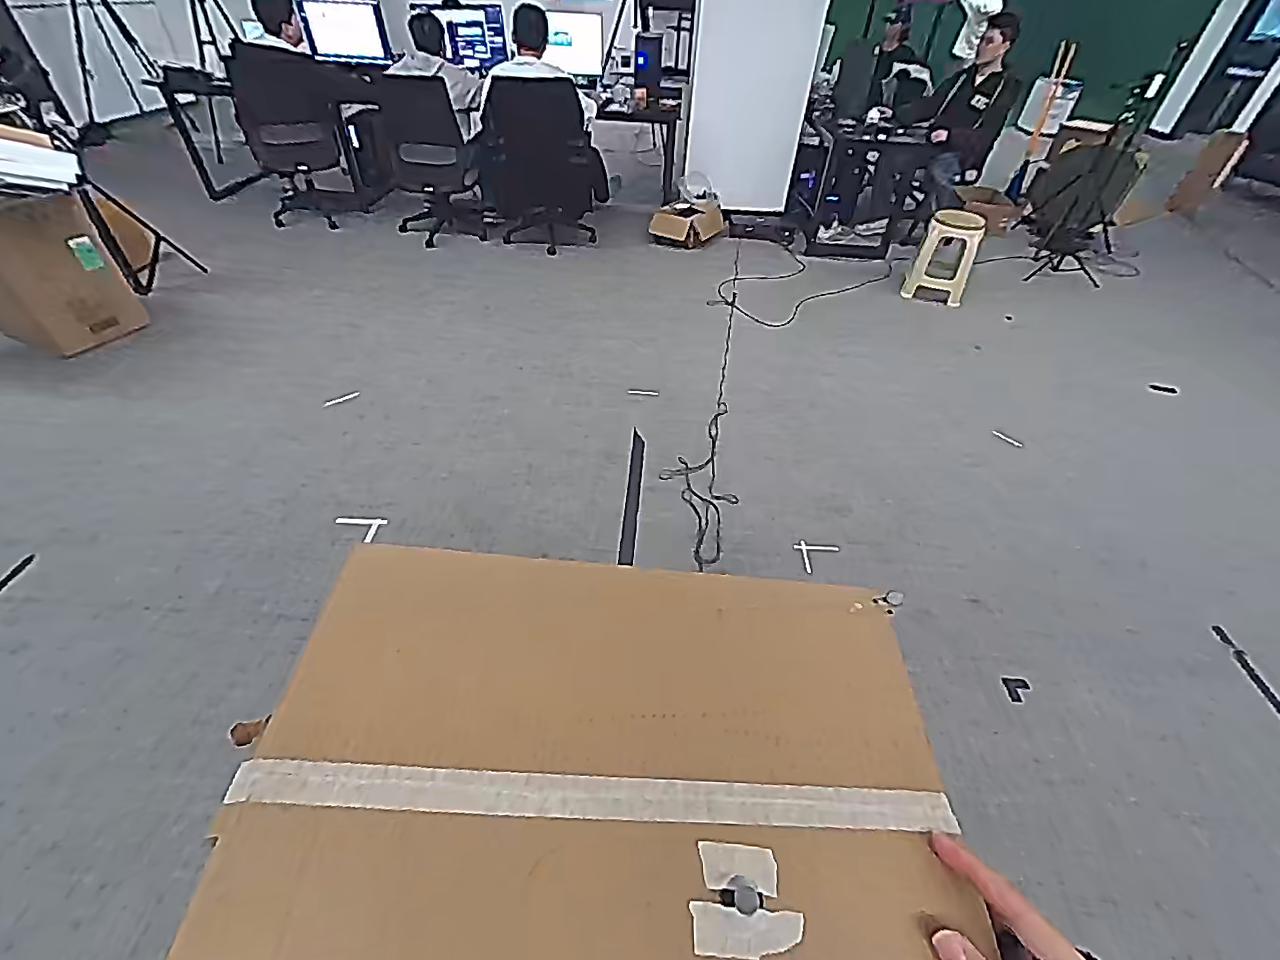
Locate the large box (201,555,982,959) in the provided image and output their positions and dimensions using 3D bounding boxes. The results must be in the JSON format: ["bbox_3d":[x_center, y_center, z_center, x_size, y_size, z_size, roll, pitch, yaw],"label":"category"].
[{"bbox_3d":[-0.032,0.286,0.433,0.408,0.320,0.320,6,49,-5],"label":"large box"}]
